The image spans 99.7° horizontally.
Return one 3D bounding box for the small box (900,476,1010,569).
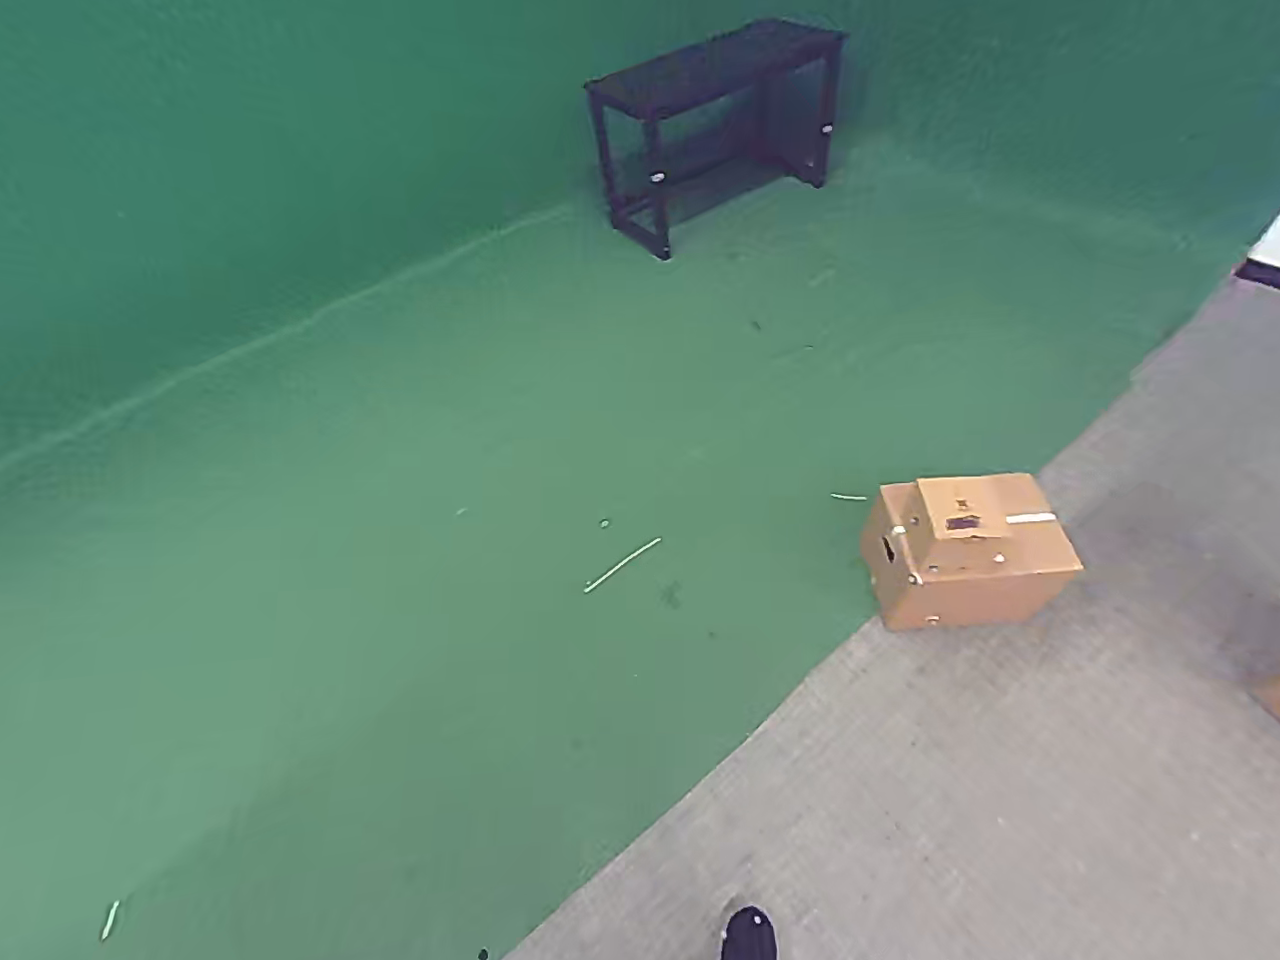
[{"bbox_3d":[0.764,0.110,1.334,0.168,0.176,0.179,-2,52,6],"label":"small box"}]
